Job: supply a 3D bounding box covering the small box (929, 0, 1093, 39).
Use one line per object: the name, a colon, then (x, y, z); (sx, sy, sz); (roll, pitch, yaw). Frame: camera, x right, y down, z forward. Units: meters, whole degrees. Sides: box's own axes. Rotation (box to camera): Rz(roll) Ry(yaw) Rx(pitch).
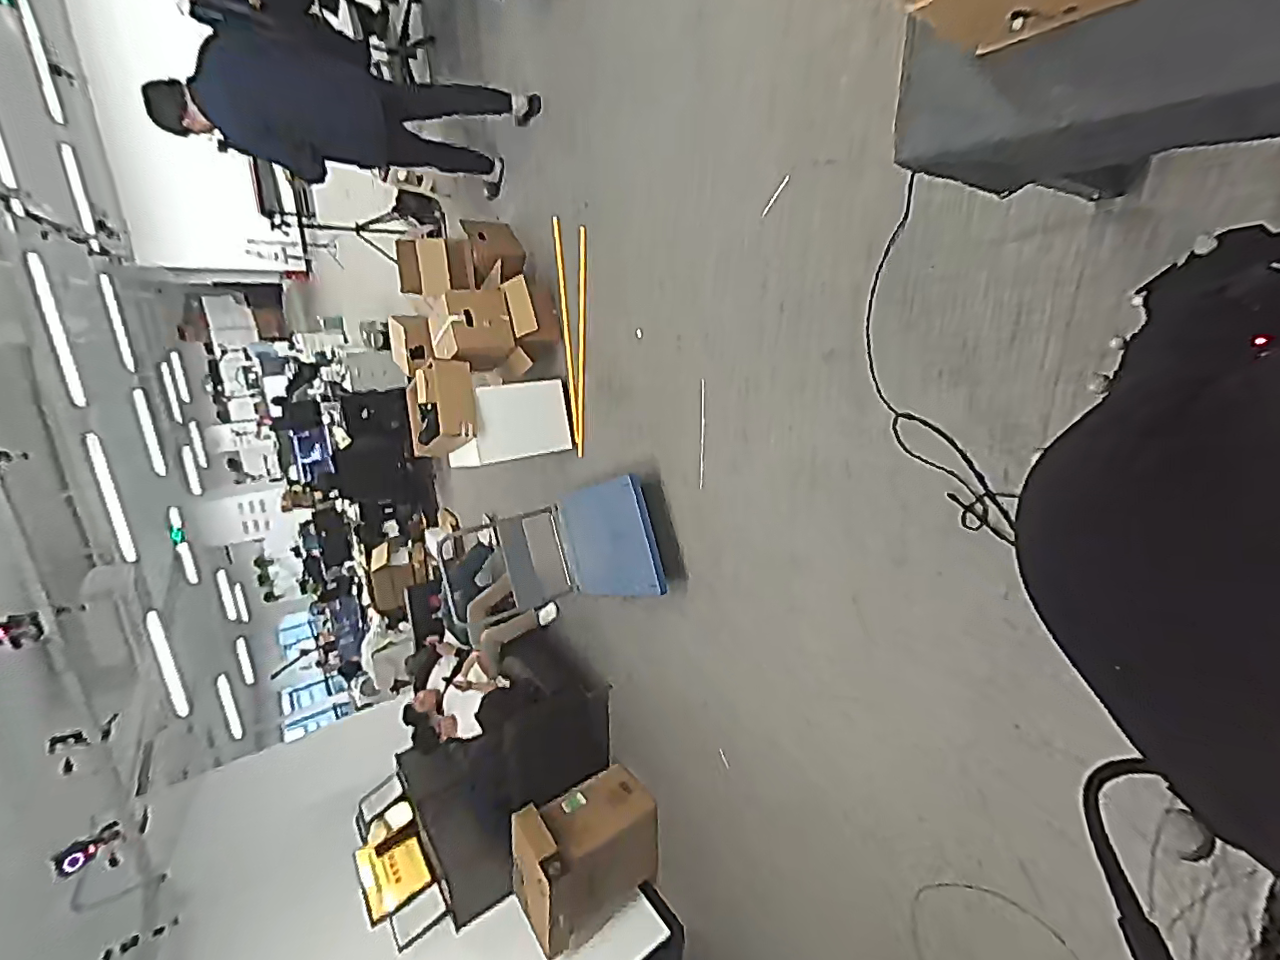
small box: (0.388, -0.579, 0.523); (0.168, 0.176, 0.179); (19, 117, 50)
